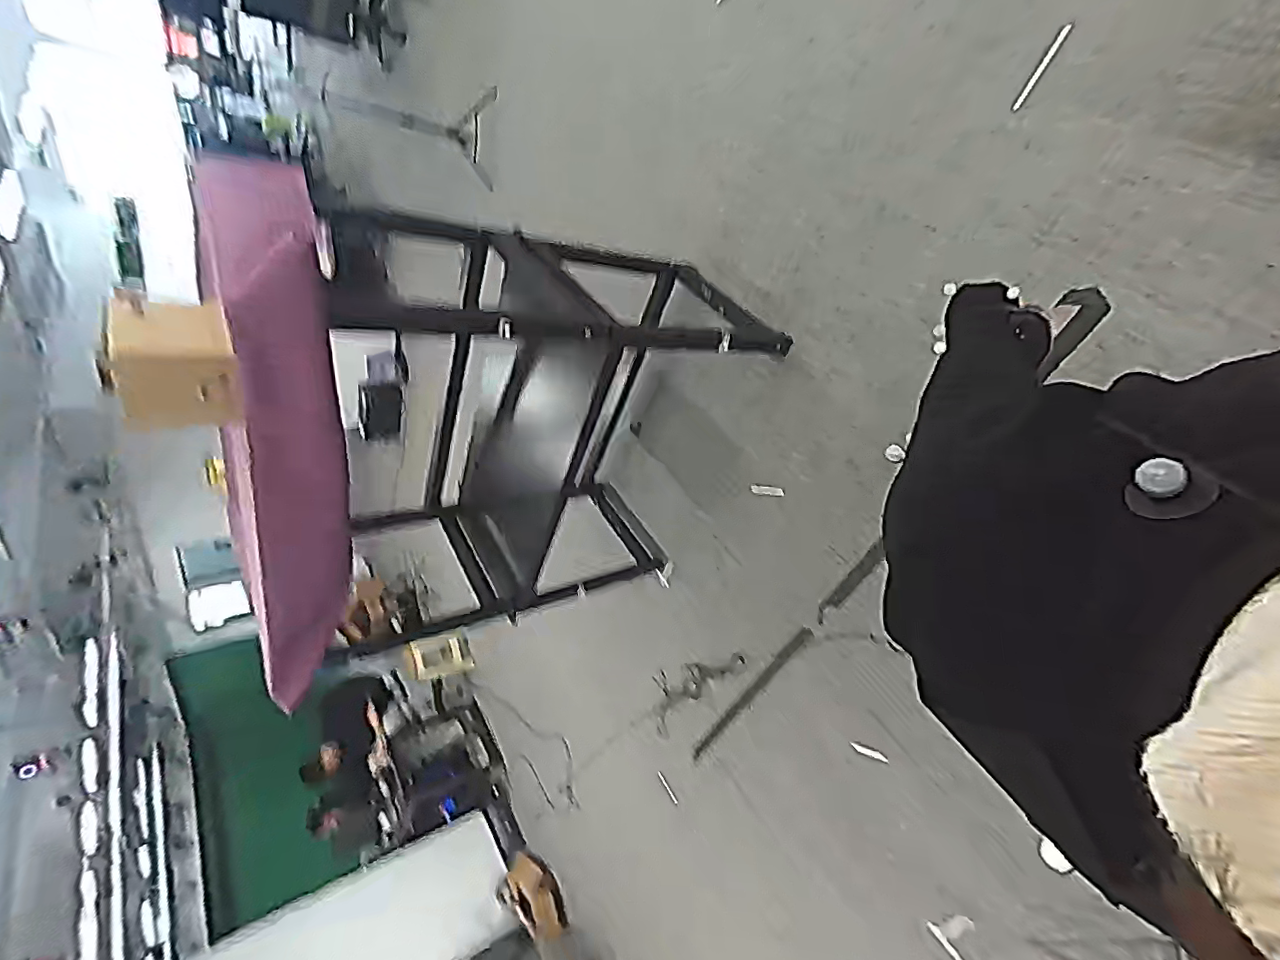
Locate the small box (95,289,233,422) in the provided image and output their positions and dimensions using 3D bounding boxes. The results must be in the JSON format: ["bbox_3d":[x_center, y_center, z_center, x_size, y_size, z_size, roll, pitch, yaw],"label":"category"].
[{"bbox_3d":[-0.859,-0.224,0.988,0.179,0.176,0.168,54,135,30],"label":"small box"}]
